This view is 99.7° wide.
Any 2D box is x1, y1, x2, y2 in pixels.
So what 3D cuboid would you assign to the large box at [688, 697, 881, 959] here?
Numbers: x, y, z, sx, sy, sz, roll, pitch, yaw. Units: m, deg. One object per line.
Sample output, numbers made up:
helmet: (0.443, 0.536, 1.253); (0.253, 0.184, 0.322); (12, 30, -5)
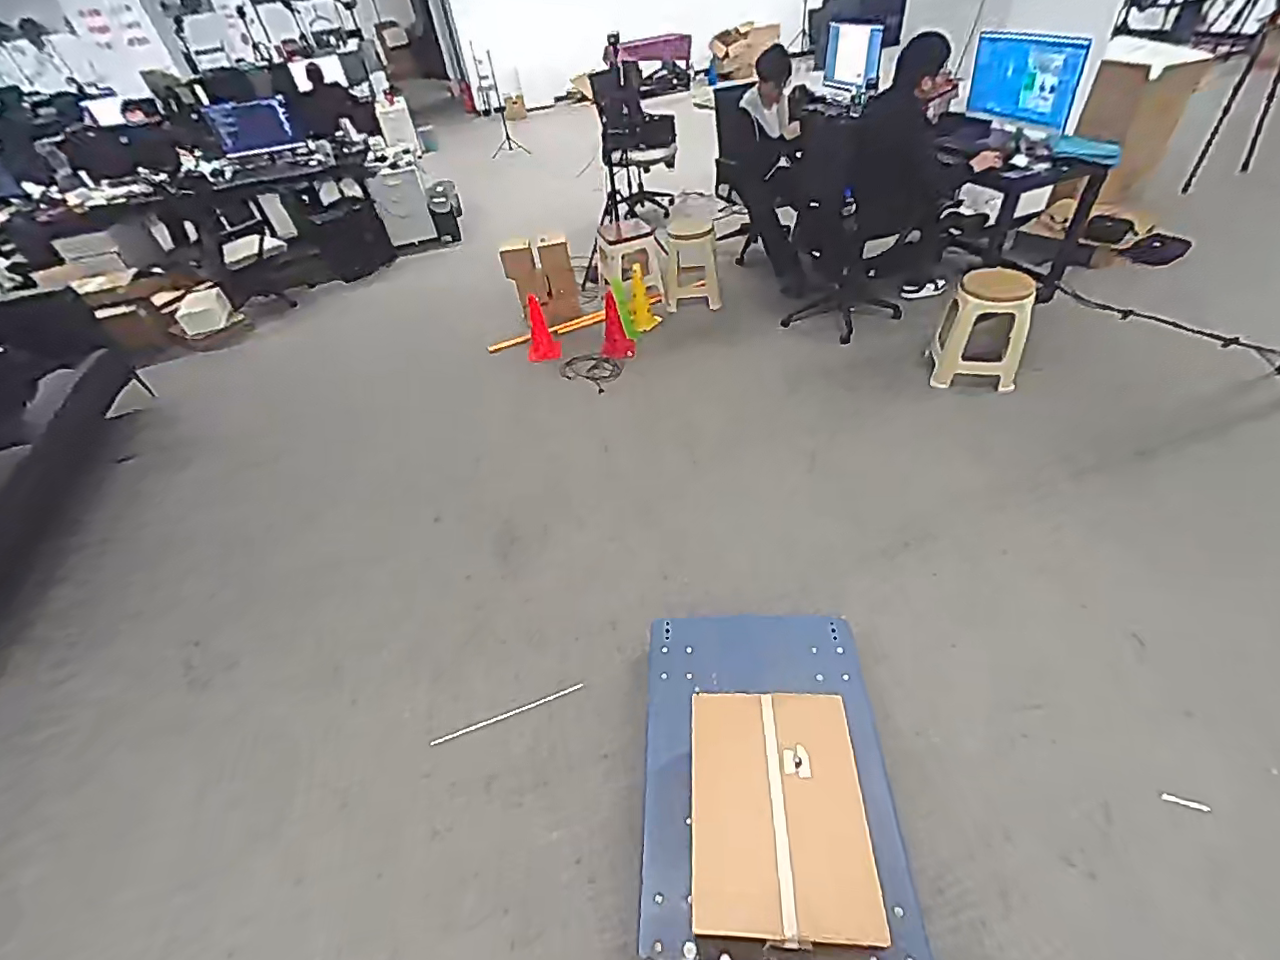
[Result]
large box: (0.265, 0.714, 1.120); (0.320, 0.320, 0.408); (-1, 43, 7)
